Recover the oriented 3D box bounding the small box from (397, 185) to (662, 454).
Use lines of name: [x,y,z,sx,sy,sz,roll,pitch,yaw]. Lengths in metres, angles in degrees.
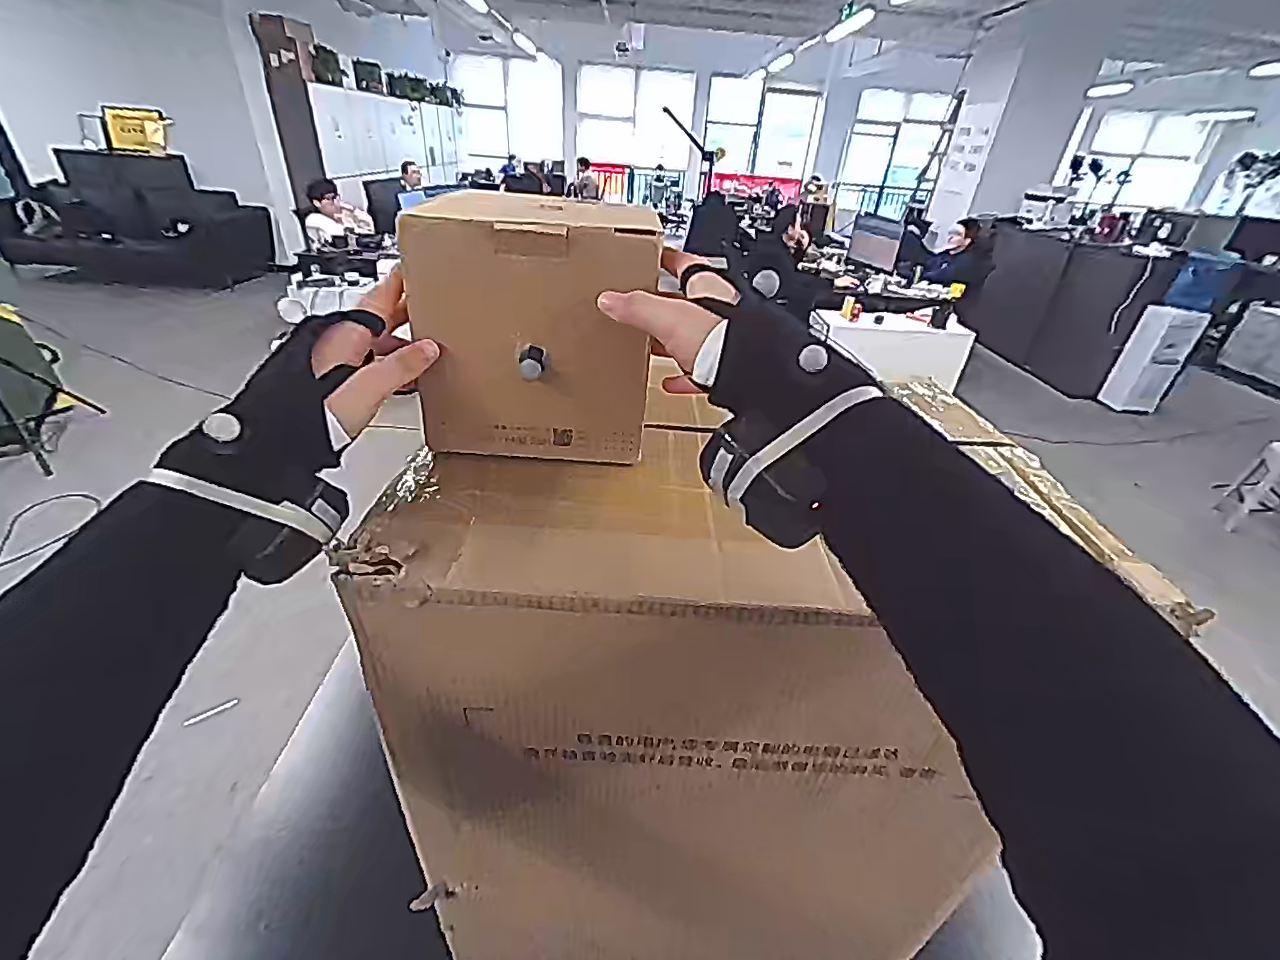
small box: [-0.072,-0.133,0.441,0.168,0.176,0.179,3,33,-3]
